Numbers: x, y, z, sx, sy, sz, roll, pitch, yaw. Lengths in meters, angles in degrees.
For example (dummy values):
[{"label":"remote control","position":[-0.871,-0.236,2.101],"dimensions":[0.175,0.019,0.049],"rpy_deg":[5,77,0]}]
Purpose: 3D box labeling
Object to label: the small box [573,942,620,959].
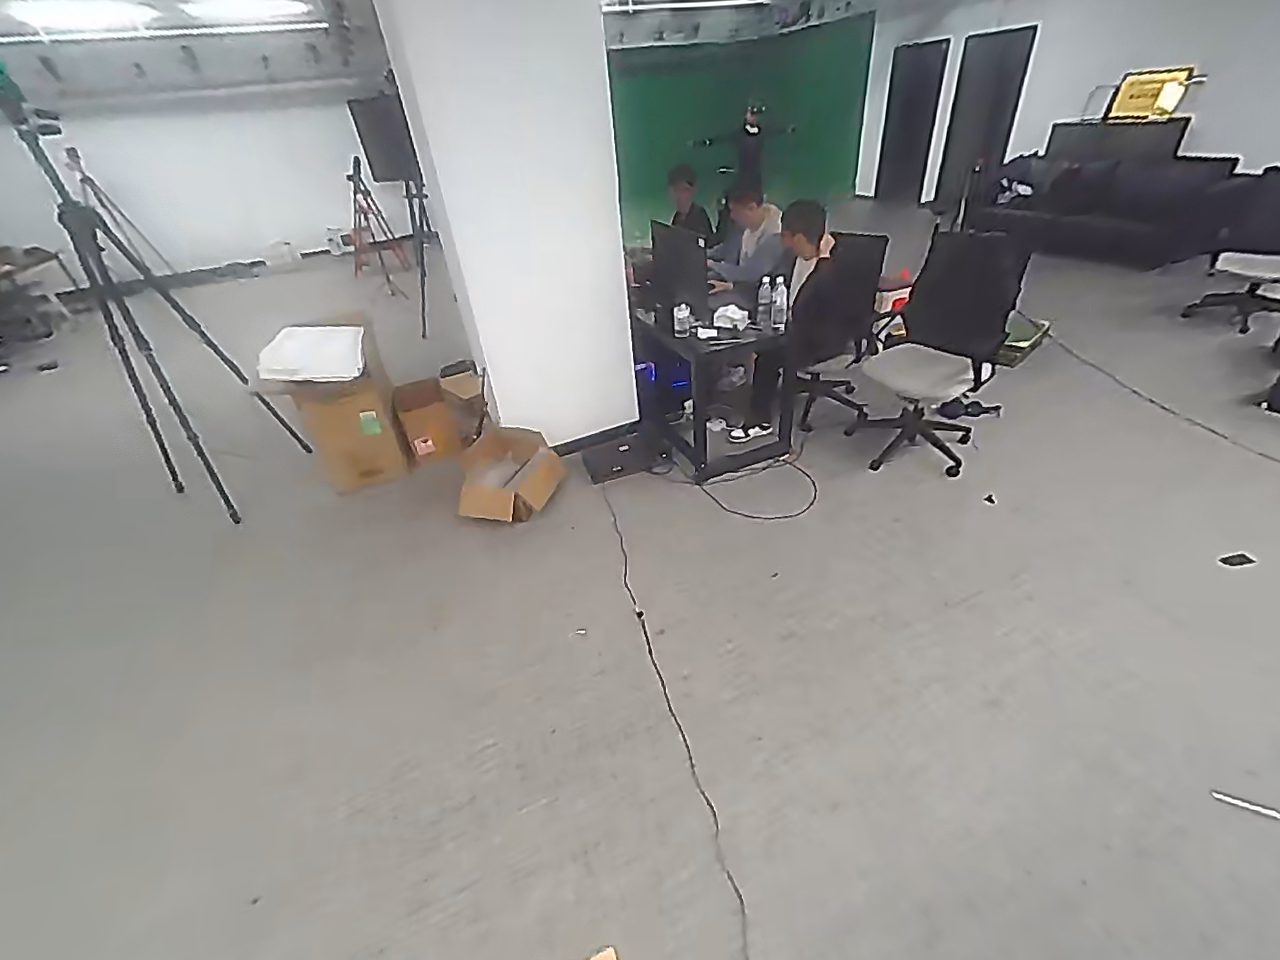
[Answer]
[{"label":"small box","position":[-0.072,0.683,0.615],"dimensions":[0.168,0.176,0.179],"rpy_deg":[-18,44,-14]}]
